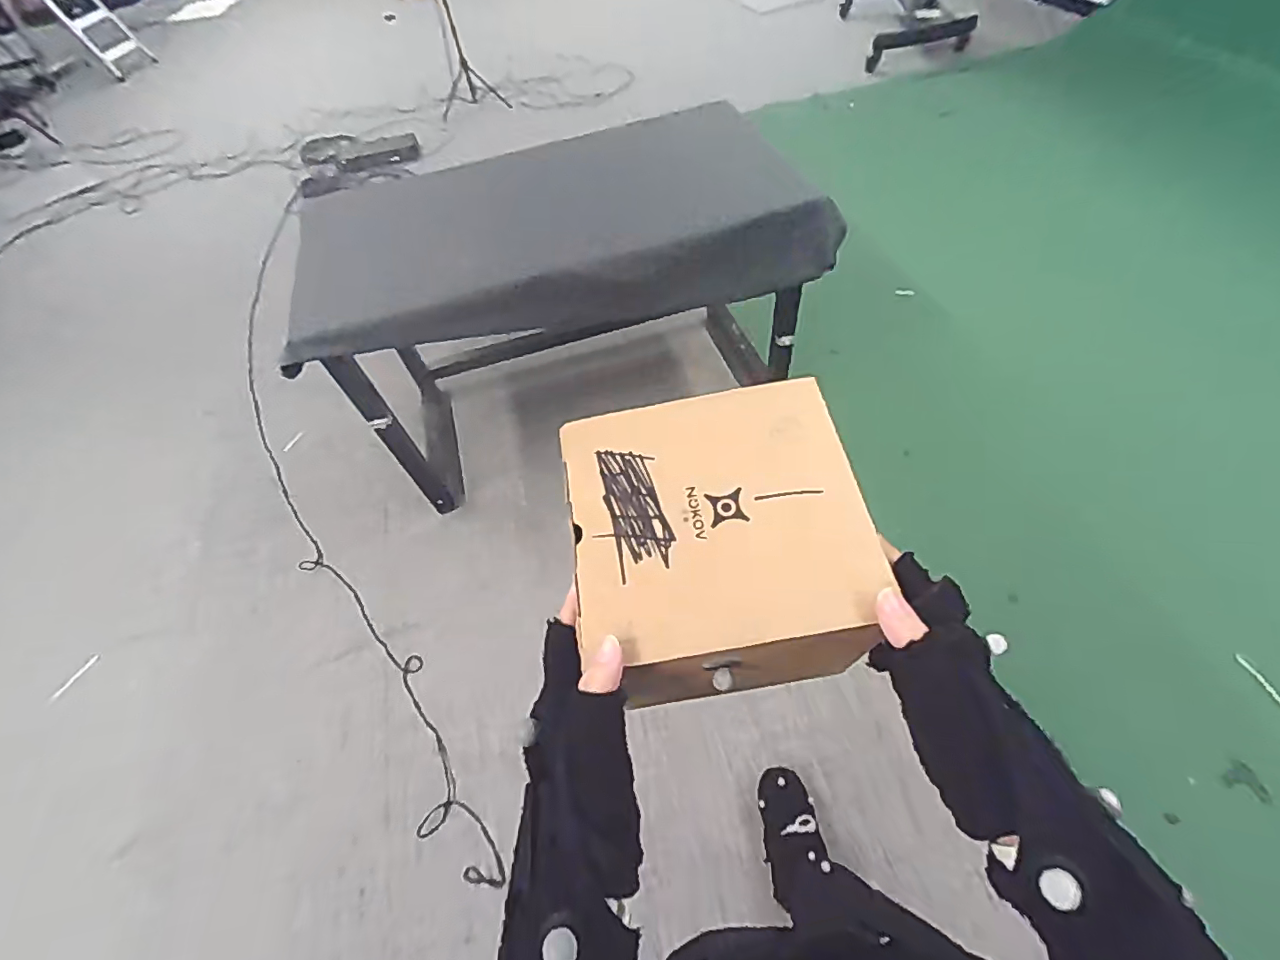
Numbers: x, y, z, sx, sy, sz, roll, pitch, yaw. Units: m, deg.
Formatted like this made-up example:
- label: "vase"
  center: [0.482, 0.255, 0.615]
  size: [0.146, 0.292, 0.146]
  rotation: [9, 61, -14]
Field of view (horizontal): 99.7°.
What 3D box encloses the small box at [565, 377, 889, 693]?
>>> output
- label: "small box"
  center: [0.051, 0.052, 0.404]
  size: [0.179, 0.176, 0.168]
  rotation: [-10, 60, 1]
